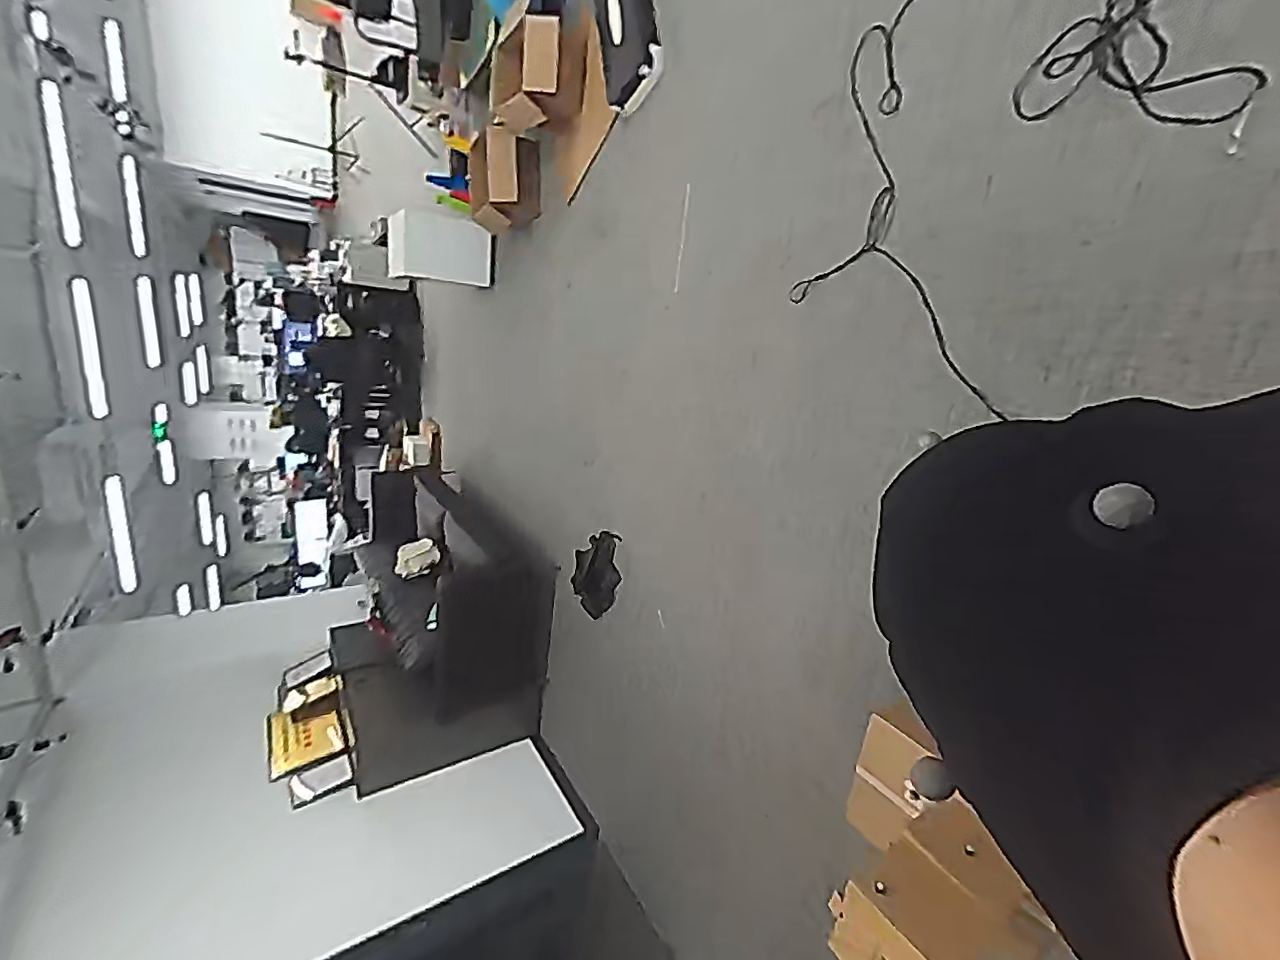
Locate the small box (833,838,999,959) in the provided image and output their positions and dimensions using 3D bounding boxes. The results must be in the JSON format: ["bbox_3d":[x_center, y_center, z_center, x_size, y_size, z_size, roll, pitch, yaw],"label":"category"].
[{"bbox_3d":[0.467,0.764,0.919,0.179,0.176,0.168,30,118,51],"label":"small box"}]

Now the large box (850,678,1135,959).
[{"bbox_3d":[0.762,0.718,1.206,0.408,0.320,0.320,29,116,52],"label":"large box"}]
